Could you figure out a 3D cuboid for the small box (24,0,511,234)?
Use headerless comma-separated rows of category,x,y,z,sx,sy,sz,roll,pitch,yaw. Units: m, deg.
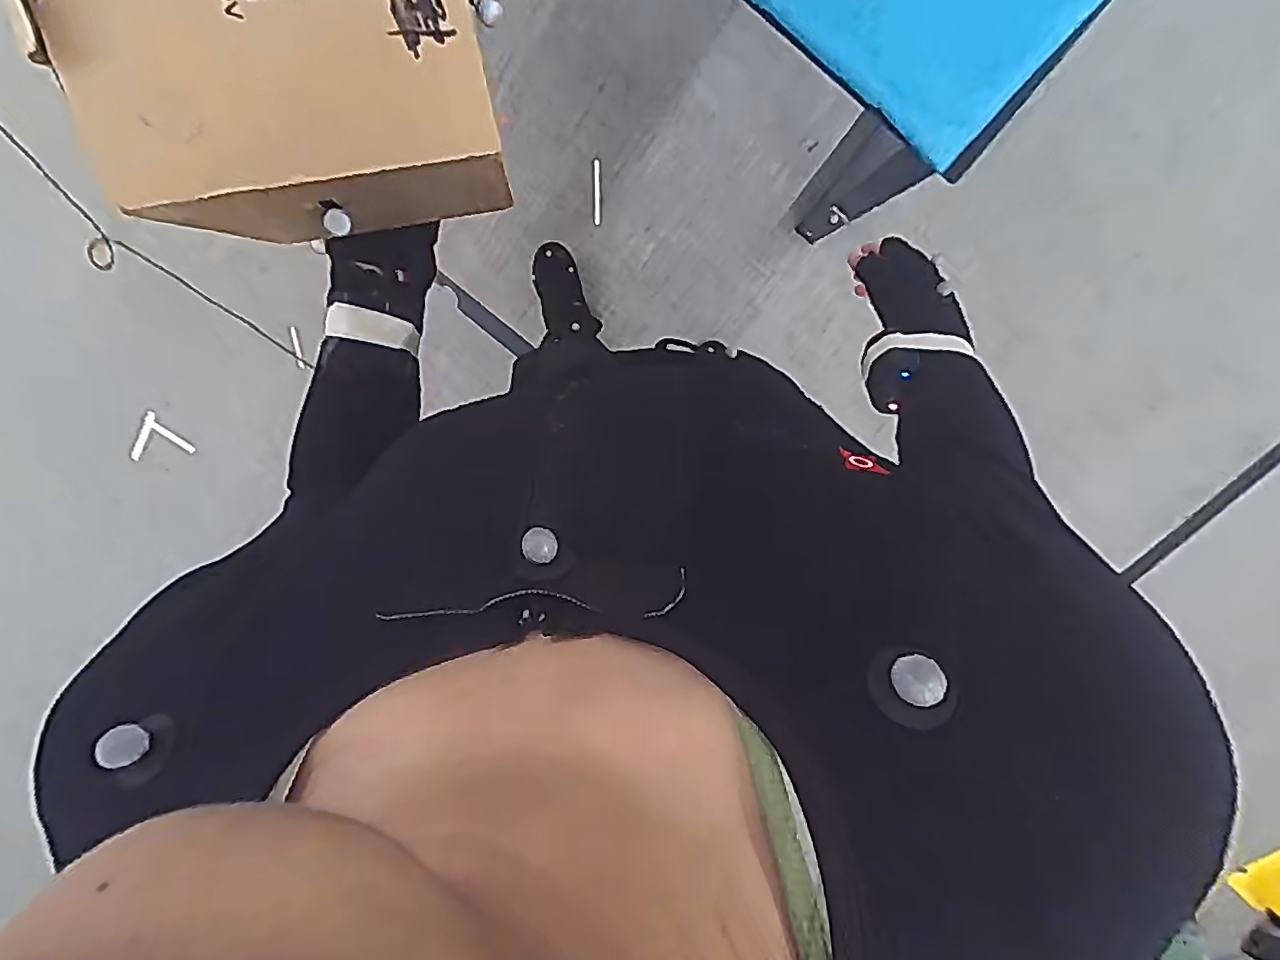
small box,-0.182,-0.247,0.300,0.179,0.176,0.168,-15,110,-5
